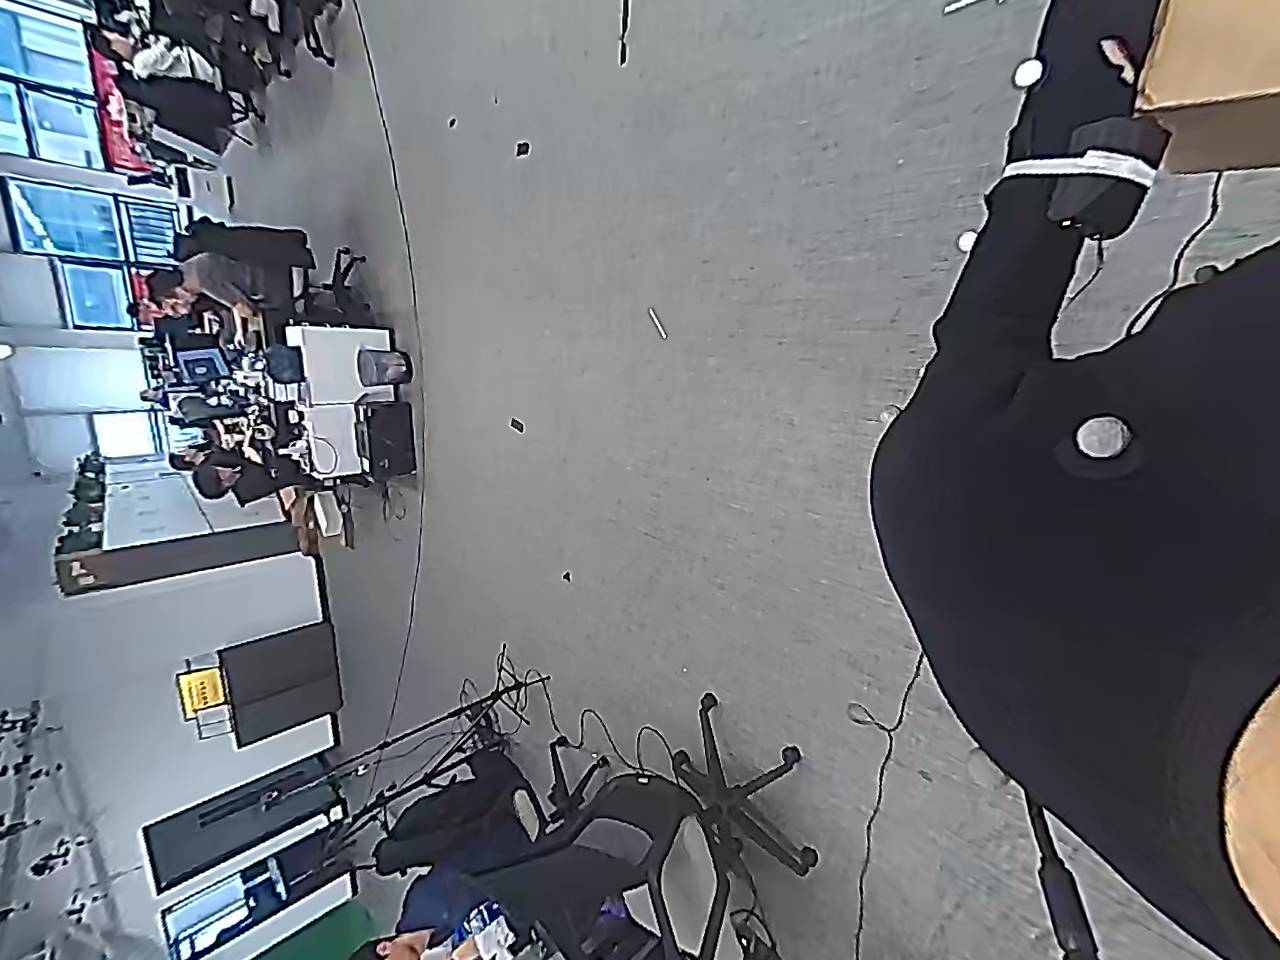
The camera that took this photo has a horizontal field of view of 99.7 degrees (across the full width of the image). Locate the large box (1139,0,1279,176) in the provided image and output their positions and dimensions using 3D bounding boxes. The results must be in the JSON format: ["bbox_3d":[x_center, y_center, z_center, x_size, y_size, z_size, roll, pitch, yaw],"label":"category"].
[{"bbox_3d":[0.592,-0.382,0.295,0.408,0.320,0.320,21,119,41],"label":"large box"}]
